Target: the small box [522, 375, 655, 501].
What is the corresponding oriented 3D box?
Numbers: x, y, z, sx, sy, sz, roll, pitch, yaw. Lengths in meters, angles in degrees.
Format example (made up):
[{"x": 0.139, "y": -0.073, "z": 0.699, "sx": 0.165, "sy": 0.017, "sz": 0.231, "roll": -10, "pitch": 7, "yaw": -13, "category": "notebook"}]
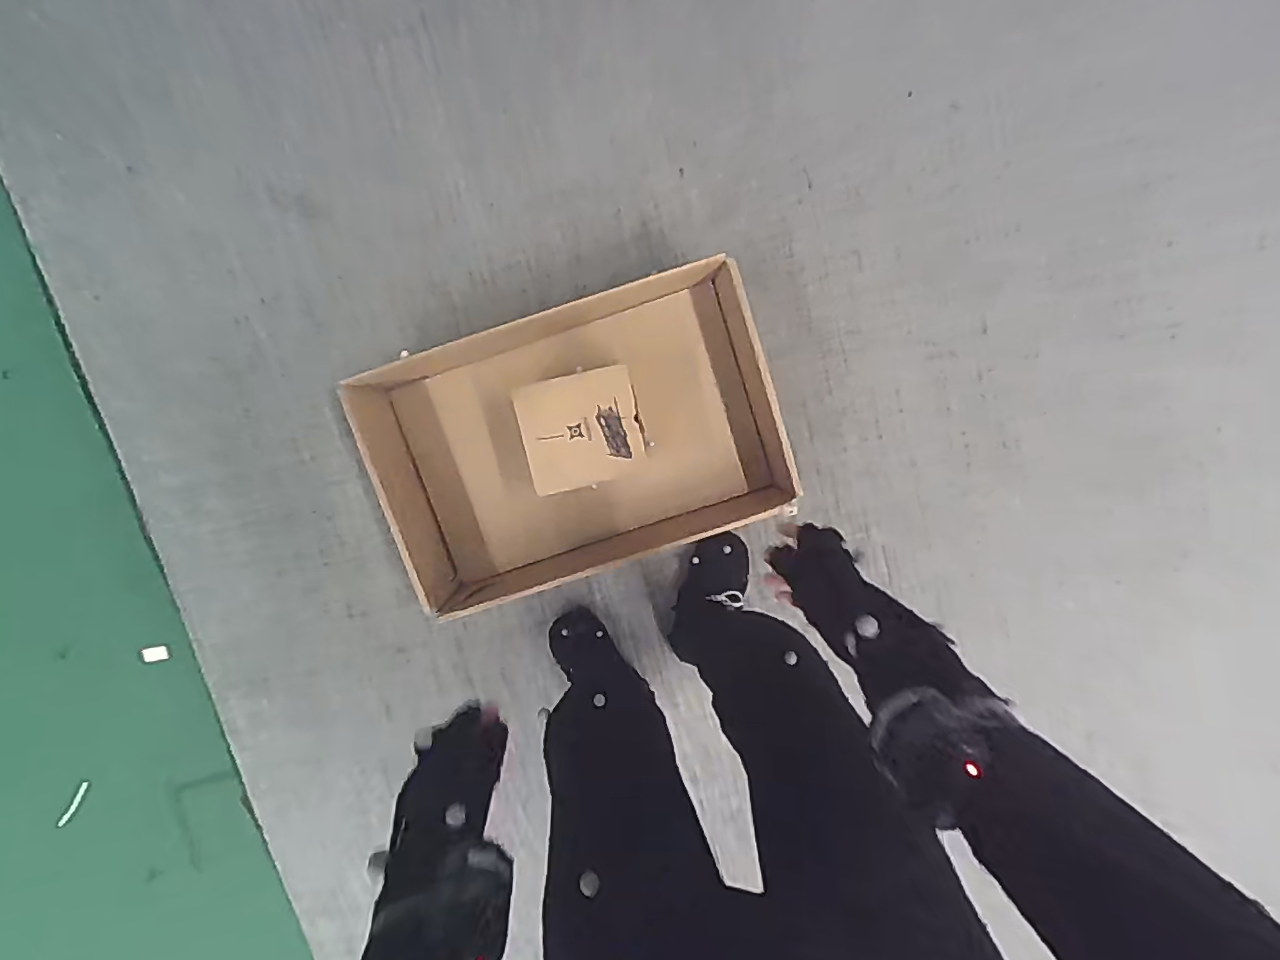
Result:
[{"x": -0.075, "y": -0.073, "z": 0.888, "sx": 0.179, "sy": 0.176, "sz": 0.168, "roll": -11, "pitch": 97, "yaw": 4, "category": "small box"}]
